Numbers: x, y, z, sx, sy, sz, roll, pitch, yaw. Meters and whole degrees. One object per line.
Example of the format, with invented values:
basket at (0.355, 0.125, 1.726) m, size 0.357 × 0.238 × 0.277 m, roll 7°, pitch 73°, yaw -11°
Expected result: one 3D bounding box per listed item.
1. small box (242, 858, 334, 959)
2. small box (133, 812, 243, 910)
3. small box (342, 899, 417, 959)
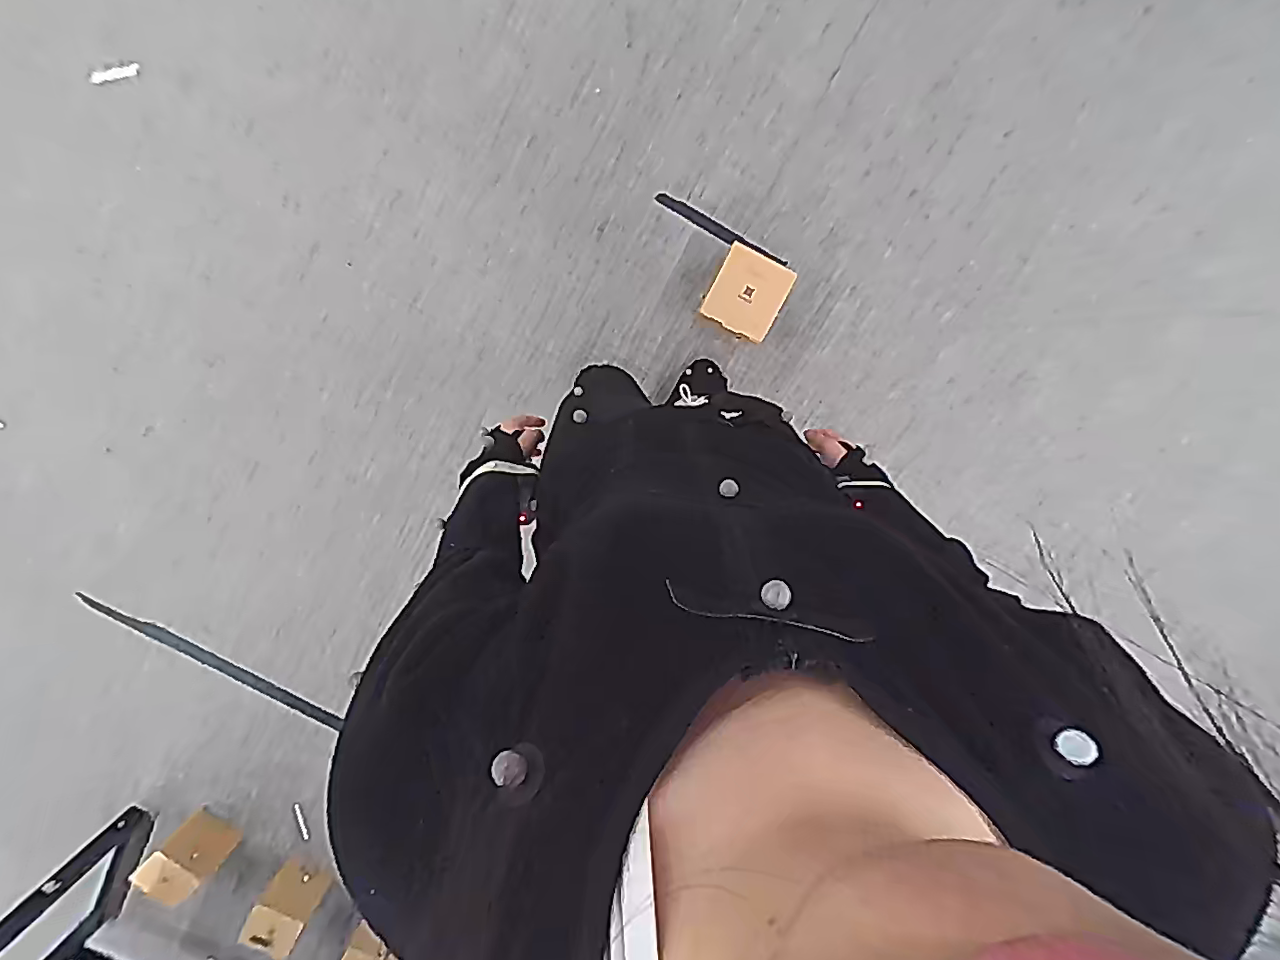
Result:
small box at (-1.154, 1.411, 1.785) m, size 0.168 × 0.176 × 0.179 m, roll 29°, pitch 102°, yaw -5°
small box at (-1.456, 1.223, 1.752) m, size 0.168 × 0.176 × 0.179 m, roll -42°, pitch 100°, yaw 10°
small box at (-0.883, 1.573, 1.816) m, size 0.168 × 0.176 × 0.179 m, roll 30°, pitch 103°, yaw -5°
